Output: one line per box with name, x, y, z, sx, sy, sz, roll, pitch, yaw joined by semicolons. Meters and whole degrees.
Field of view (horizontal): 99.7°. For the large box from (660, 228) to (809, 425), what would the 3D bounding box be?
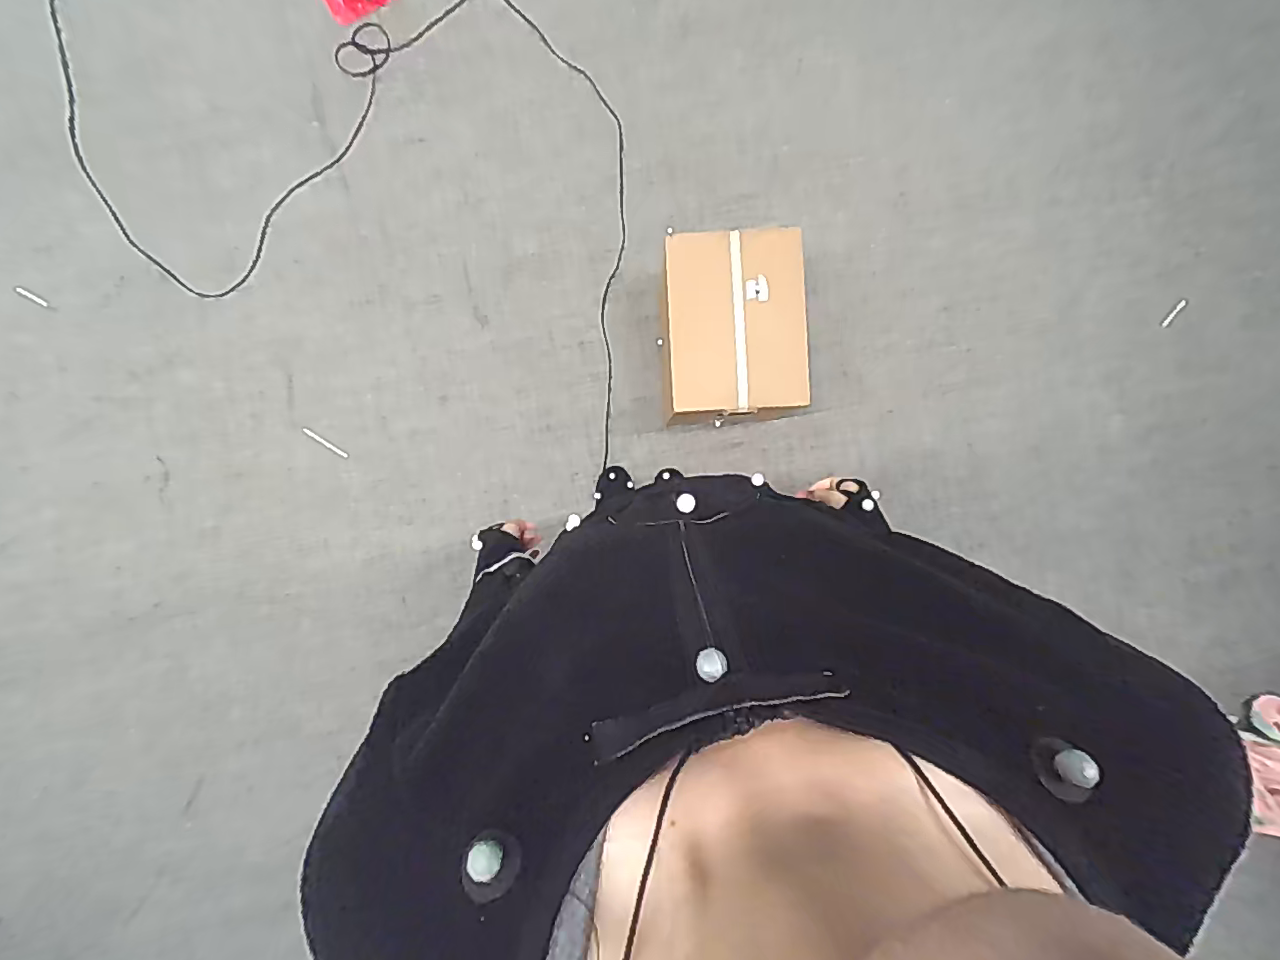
large box;0.218;-0.363;1.368;0.320;0.320;0.408;-3;90;-1
